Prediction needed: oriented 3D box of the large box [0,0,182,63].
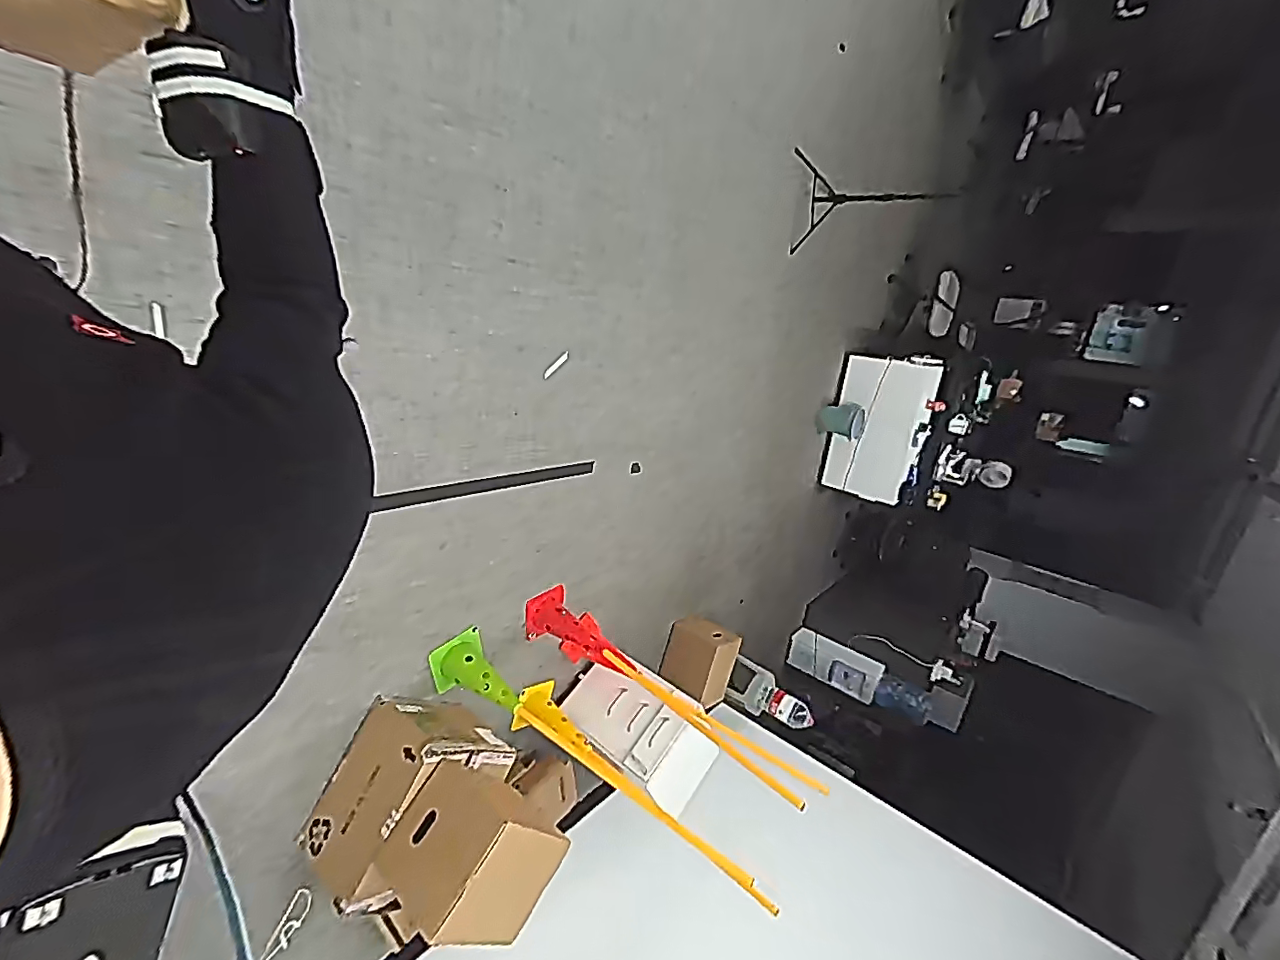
[{"bbox_3d":[-0.530,-0.473,0.254,0.408,0.320,0.320,-14,120,-51],"label":"large box"}]
